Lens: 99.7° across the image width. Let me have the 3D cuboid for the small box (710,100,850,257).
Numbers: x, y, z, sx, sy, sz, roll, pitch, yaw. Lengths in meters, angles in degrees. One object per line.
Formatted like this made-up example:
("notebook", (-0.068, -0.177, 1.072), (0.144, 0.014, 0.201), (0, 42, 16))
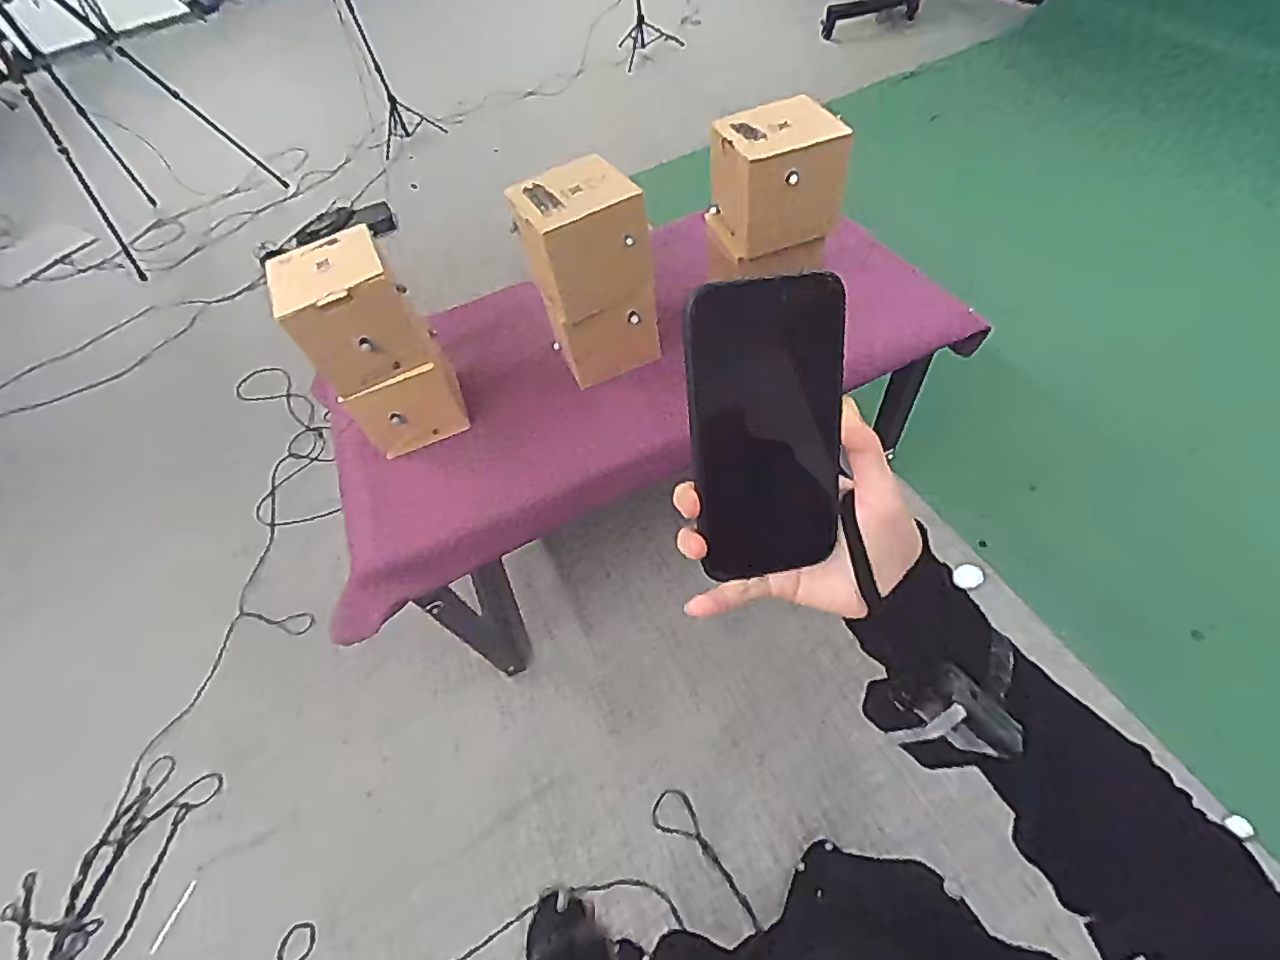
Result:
("small box", (0.234, -0.517, 0.938), (0.179, 0.176, 0.168), (-18, 54, -4))

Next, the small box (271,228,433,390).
("small box", (-0.464, -0.271, 0.887), (0.168, 0.176, 0.179), (-27, 56, -9))

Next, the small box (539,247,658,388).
("small box", (-0.073, -0.310, 1.047), (0.179, 0.176, 0.168), (-23, 55, -6))

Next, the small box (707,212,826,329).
("small box", (0.243, -0.432, 1.079), (0.179, 0.176, 0.168), (-18, 54, -3))

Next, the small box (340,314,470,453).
("small box", (-0.438, -0.172, 1.016), (0.168, 0.176, 0.179), (-23, 55, -6))
